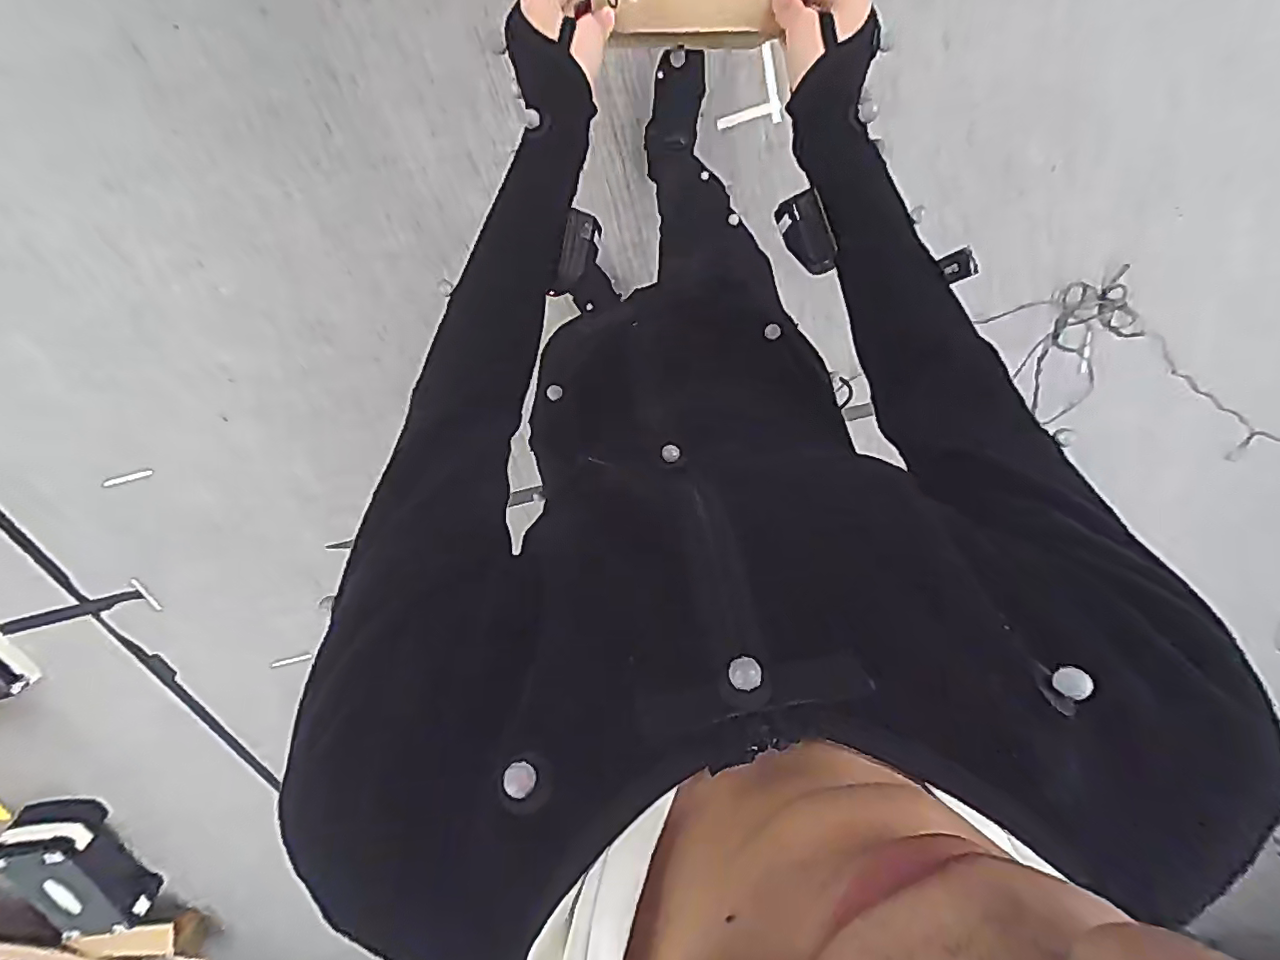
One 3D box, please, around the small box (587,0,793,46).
[{"bbox_3d":[0.039,-0.500,0.480,0.179,0.176,0.168,-1,124,-2],"label":"small box"}]
